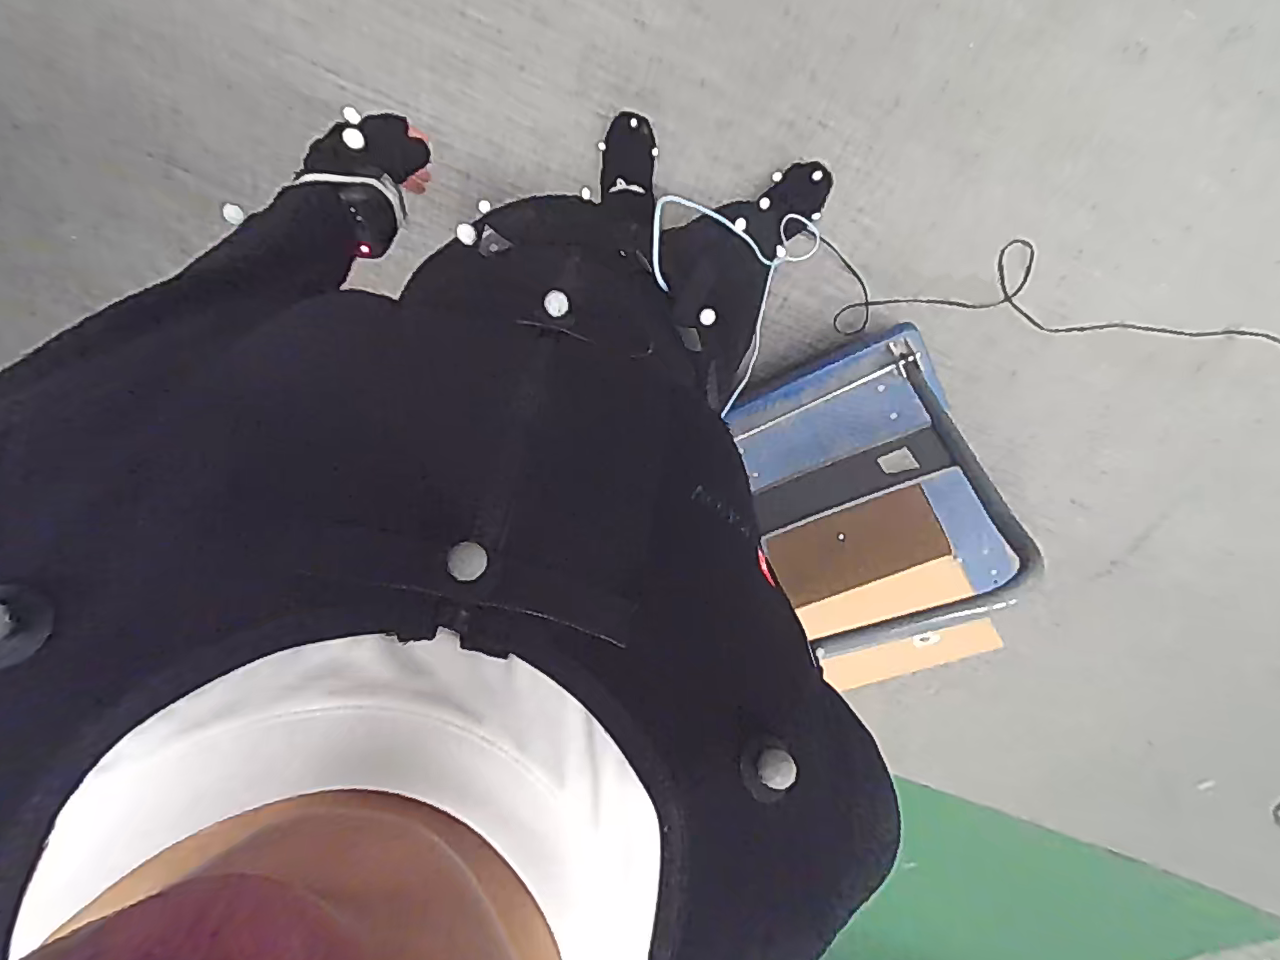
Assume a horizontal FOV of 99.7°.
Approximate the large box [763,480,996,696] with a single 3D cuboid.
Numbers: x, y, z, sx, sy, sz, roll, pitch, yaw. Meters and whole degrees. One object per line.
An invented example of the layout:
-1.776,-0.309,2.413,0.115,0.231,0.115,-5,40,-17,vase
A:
0.566,0.268,1.350,0.408,0.320,0.320,-29,115,24,large box
